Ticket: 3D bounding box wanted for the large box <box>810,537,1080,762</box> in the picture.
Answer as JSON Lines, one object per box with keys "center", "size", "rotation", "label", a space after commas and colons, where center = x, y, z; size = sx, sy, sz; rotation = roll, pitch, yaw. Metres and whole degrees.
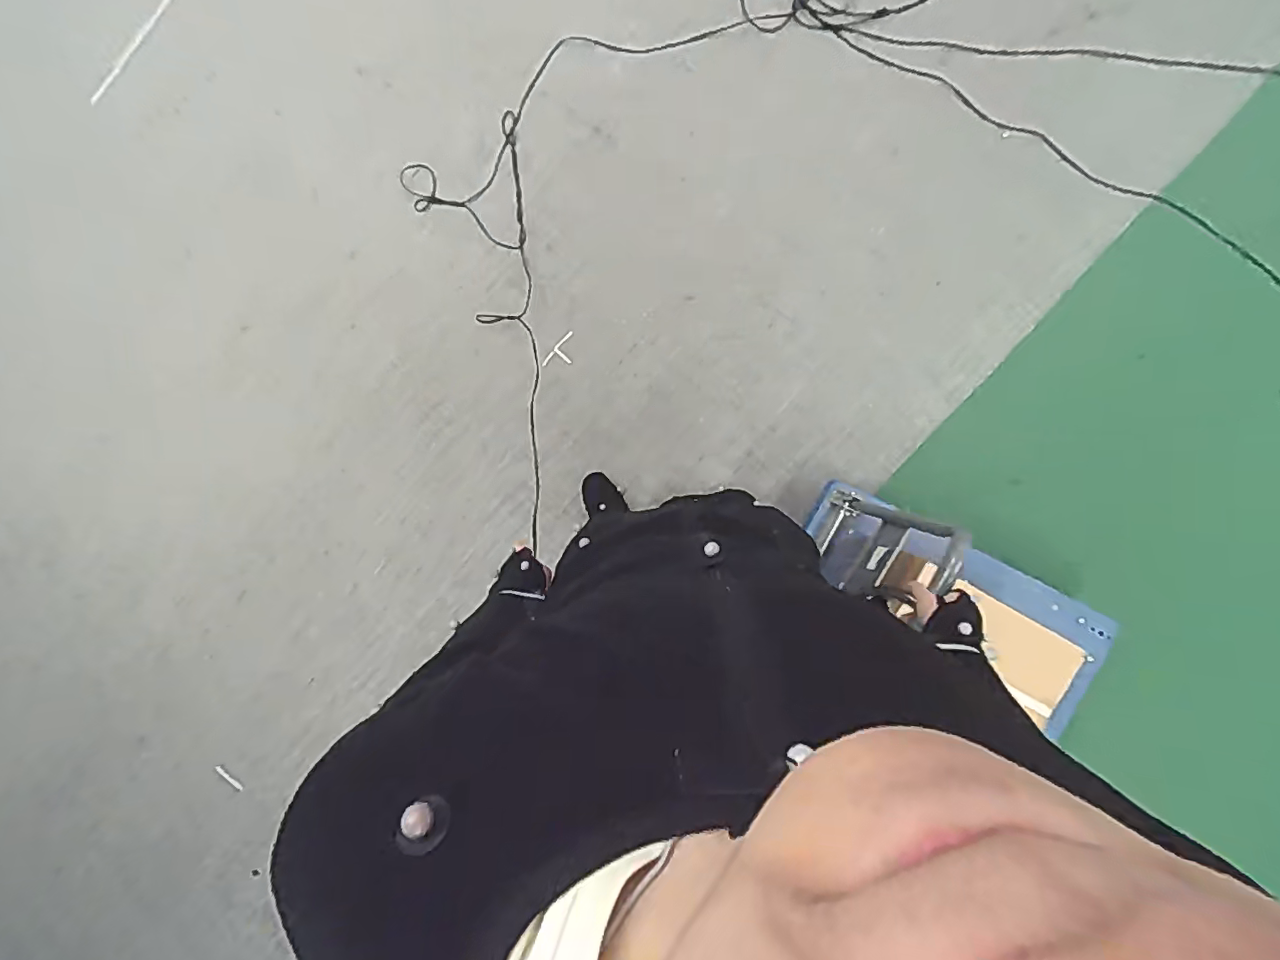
{"center": [0.698, 0.379, 1.307], "size": [0.408, 0.320, 0.320], "rotation": [30, 94, -2], "label": "large box"}
